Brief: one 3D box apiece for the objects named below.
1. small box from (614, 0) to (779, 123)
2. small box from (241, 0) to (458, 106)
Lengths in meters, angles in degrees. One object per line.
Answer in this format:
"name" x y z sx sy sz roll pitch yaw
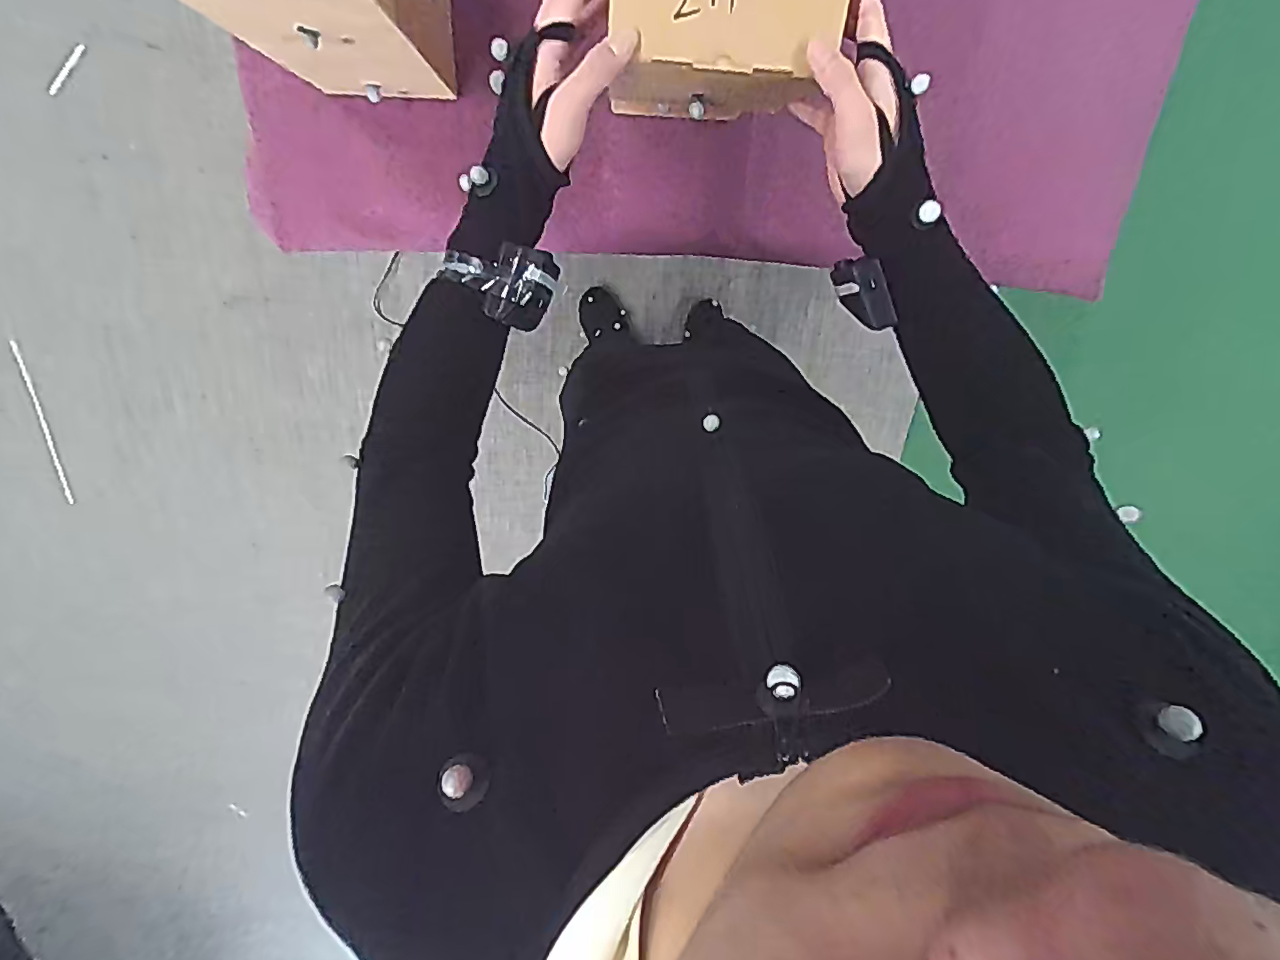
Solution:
"small box" 0.057 -0.525 0.612 0.168 0.176 0.179 0 110 -4
"small box" -0.303 -0.530 0.578 0.168 0.176 0.179 0 112 -4
